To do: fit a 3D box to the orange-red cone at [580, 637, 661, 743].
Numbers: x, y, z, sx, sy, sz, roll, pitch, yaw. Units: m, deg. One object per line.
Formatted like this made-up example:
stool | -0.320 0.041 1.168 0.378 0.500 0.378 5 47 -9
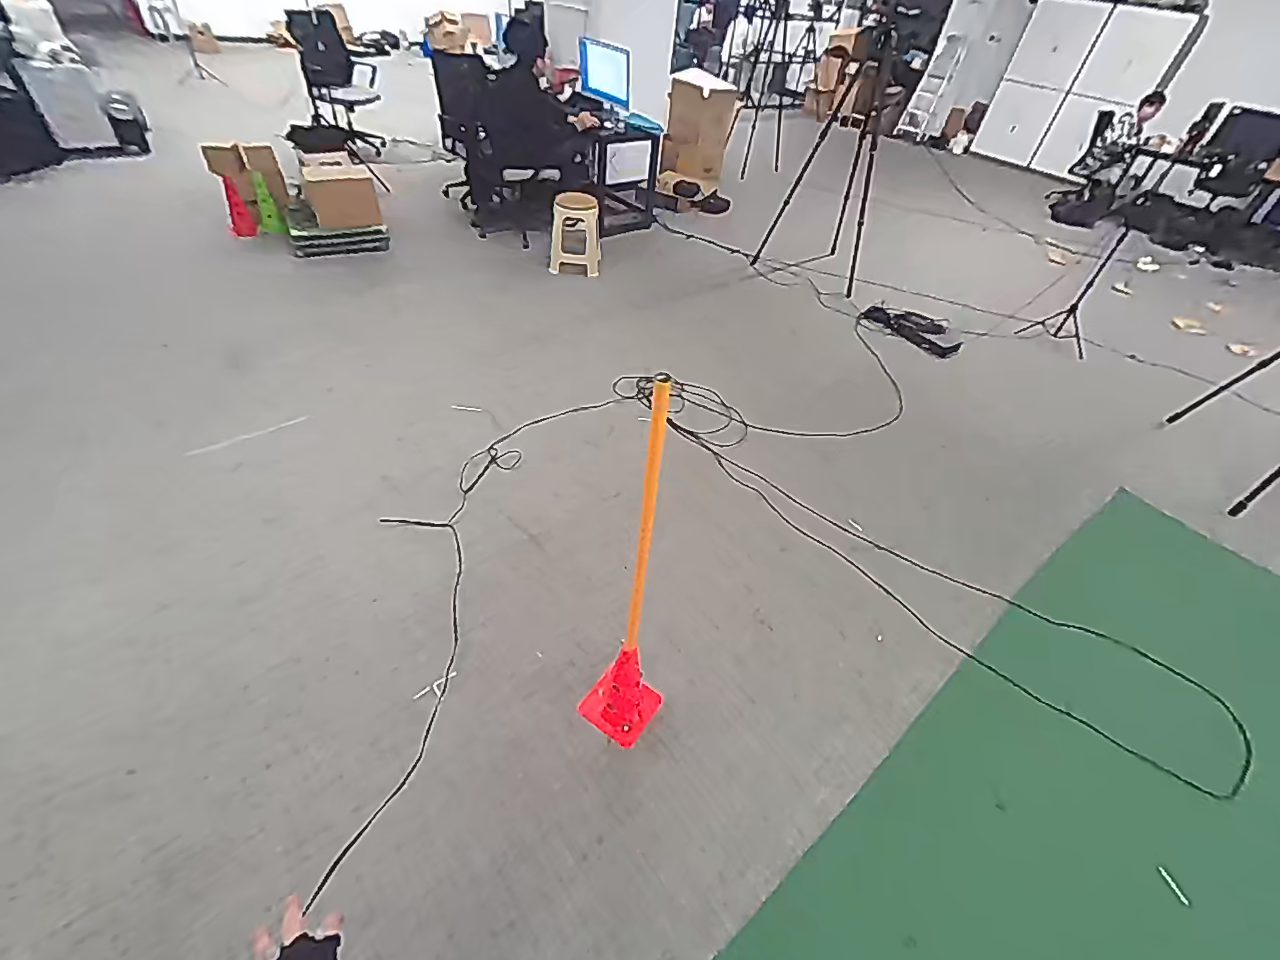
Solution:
orange-red cone | -0.040 0.555 1.540 0.198 0.360 0.199 31 47 21
